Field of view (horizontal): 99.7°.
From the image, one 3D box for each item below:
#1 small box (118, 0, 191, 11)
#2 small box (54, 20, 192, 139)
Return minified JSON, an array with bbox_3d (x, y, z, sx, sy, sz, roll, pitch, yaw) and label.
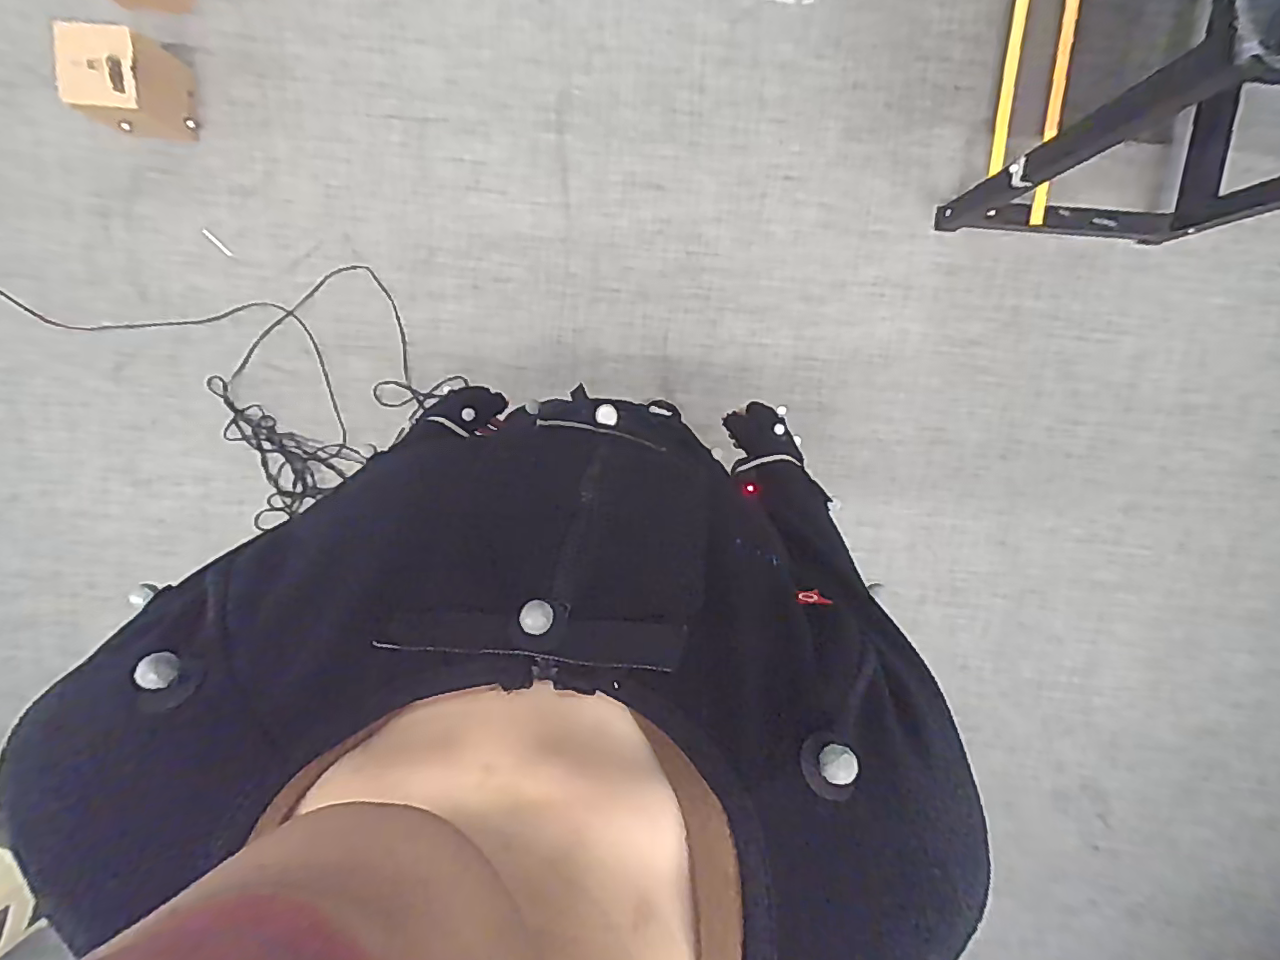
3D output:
[{"bbox_3d":[-1.170,-1.212,1.222,0.179,0.176,0.168,5,99,-1],"label":"small box"},{"bbox_3d":[-1.193,-0.925,1.266,0.179,0.176,0.168,5,99,0],"label":"small box"}]
